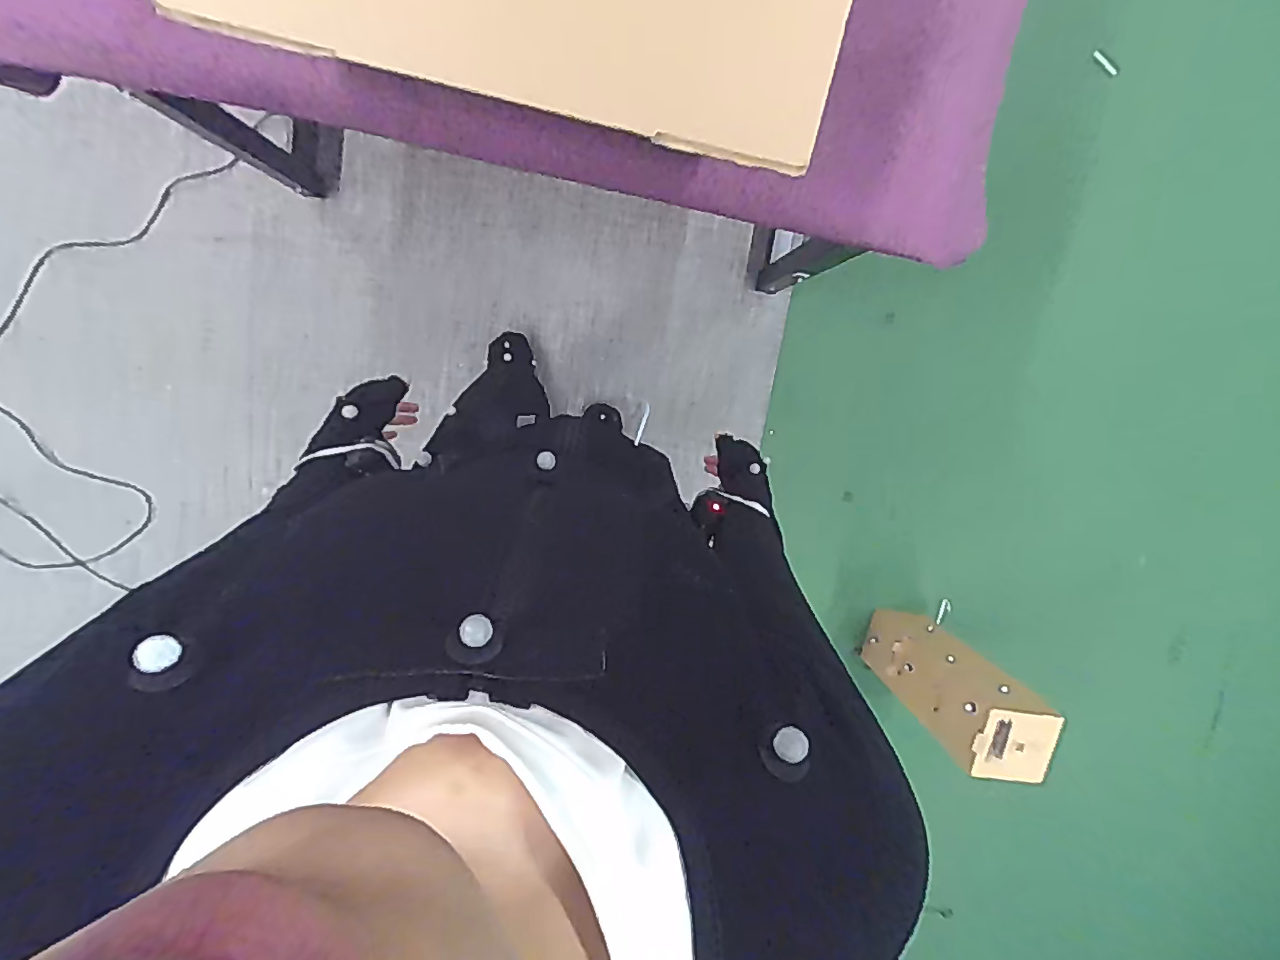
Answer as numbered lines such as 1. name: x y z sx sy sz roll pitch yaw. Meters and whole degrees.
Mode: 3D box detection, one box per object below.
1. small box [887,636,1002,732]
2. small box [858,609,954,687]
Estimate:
1. small box: 0.782 0.524 1.406 0.179 0.176 0.168 9 101 -5
2. small box: 0.769 0.492 1.565 0.179 0.176 0.168 11 101 -6
